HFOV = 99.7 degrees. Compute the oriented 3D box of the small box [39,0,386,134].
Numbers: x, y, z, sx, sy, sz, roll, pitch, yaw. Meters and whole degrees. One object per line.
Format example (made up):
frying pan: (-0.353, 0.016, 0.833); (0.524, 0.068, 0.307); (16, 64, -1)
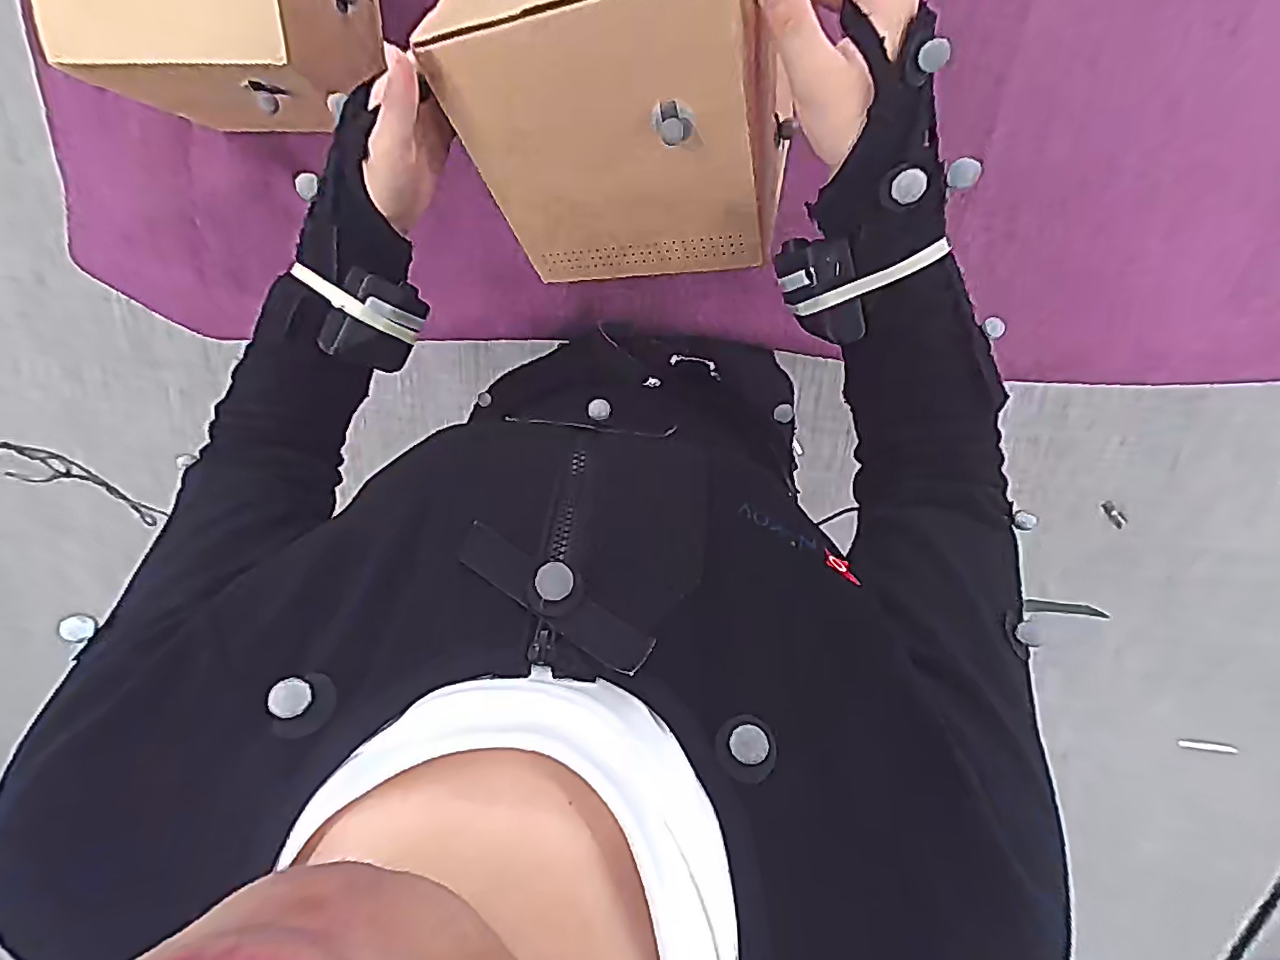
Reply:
small box: (-0.324, -0.395, 0.432); (0.179, 0.176, 0.168); (2, 108, 1)
